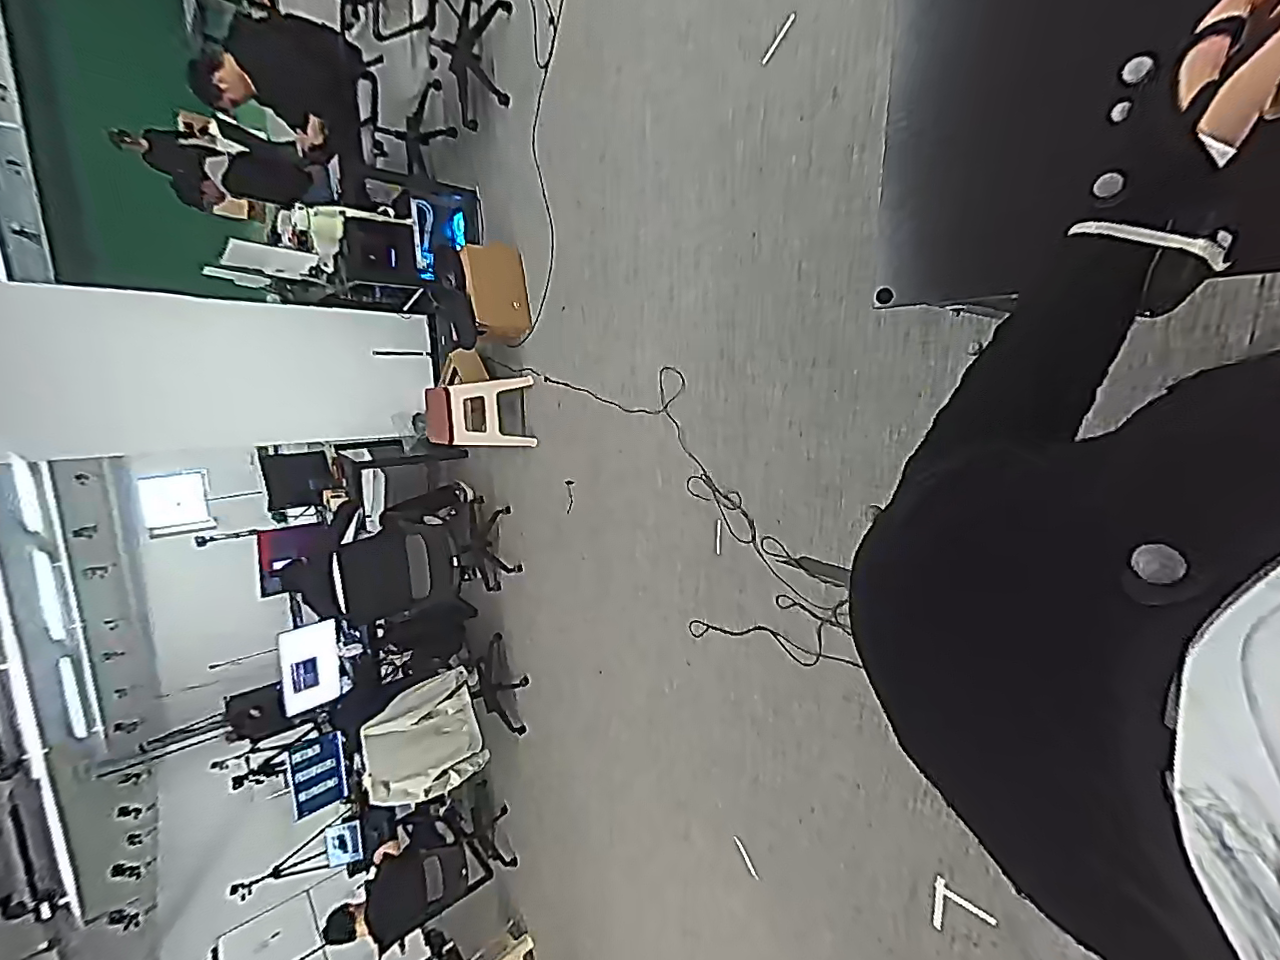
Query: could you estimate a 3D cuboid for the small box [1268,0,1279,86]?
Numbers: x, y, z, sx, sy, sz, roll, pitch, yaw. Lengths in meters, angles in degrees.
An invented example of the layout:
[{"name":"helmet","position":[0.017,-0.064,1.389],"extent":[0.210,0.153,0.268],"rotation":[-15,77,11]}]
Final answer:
[{"name":"small box","position":[0.513,-0.369,0.322],"extent":[0.168,0.176,0.179],"rotation":[5,106,45]}]
